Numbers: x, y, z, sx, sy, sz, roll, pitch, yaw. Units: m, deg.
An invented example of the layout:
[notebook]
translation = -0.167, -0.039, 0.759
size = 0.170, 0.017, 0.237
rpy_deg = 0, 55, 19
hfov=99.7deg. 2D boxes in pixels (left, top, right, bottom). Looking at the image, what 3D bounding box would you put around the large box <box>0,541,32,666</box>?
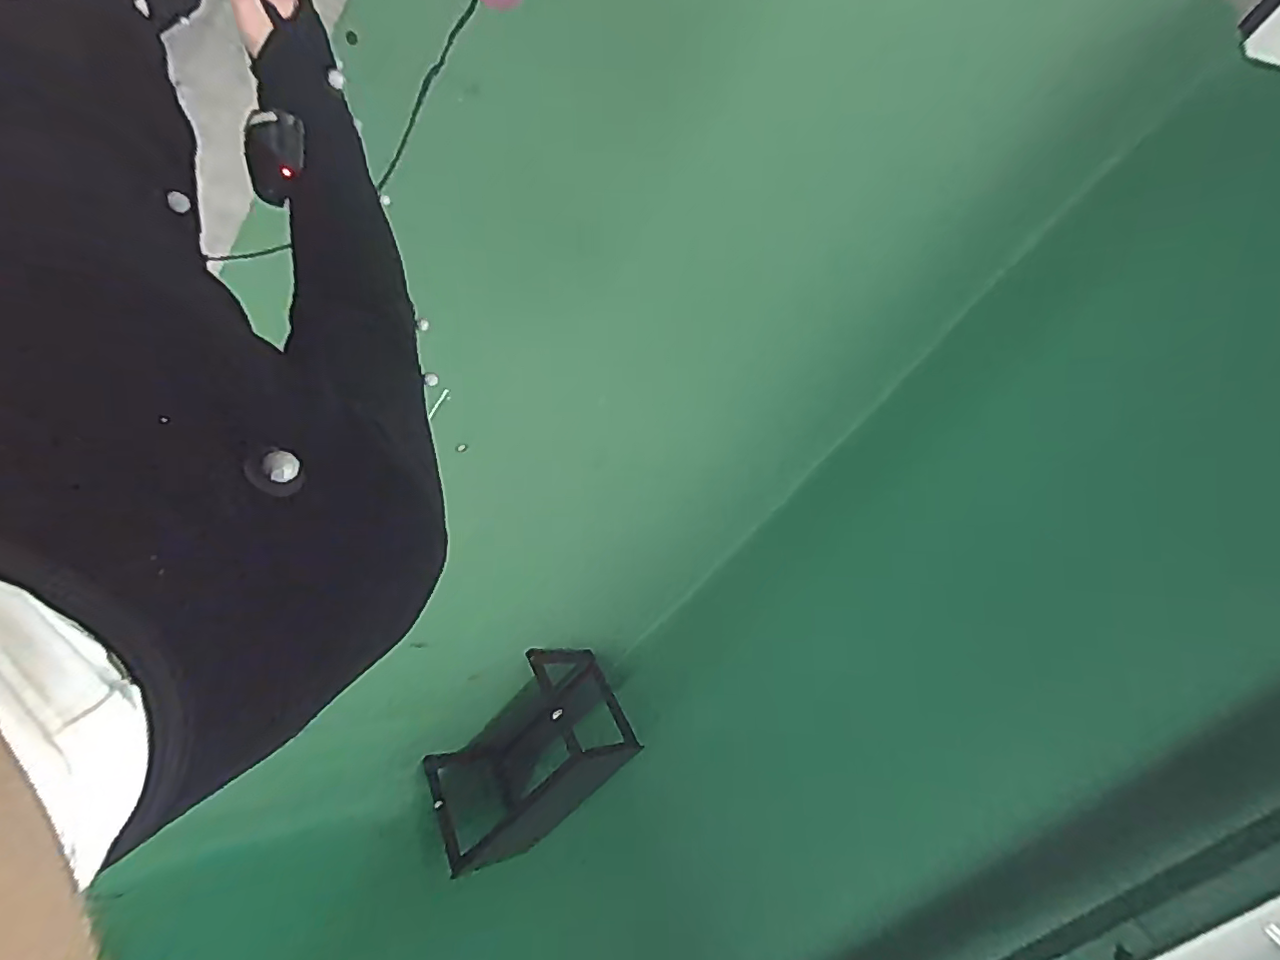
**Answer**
[large box]
translation = -1.827, 0.310, 1.288
size = 0.408, 0.320, 0.320
rpy_deg = -15, 141, -28
